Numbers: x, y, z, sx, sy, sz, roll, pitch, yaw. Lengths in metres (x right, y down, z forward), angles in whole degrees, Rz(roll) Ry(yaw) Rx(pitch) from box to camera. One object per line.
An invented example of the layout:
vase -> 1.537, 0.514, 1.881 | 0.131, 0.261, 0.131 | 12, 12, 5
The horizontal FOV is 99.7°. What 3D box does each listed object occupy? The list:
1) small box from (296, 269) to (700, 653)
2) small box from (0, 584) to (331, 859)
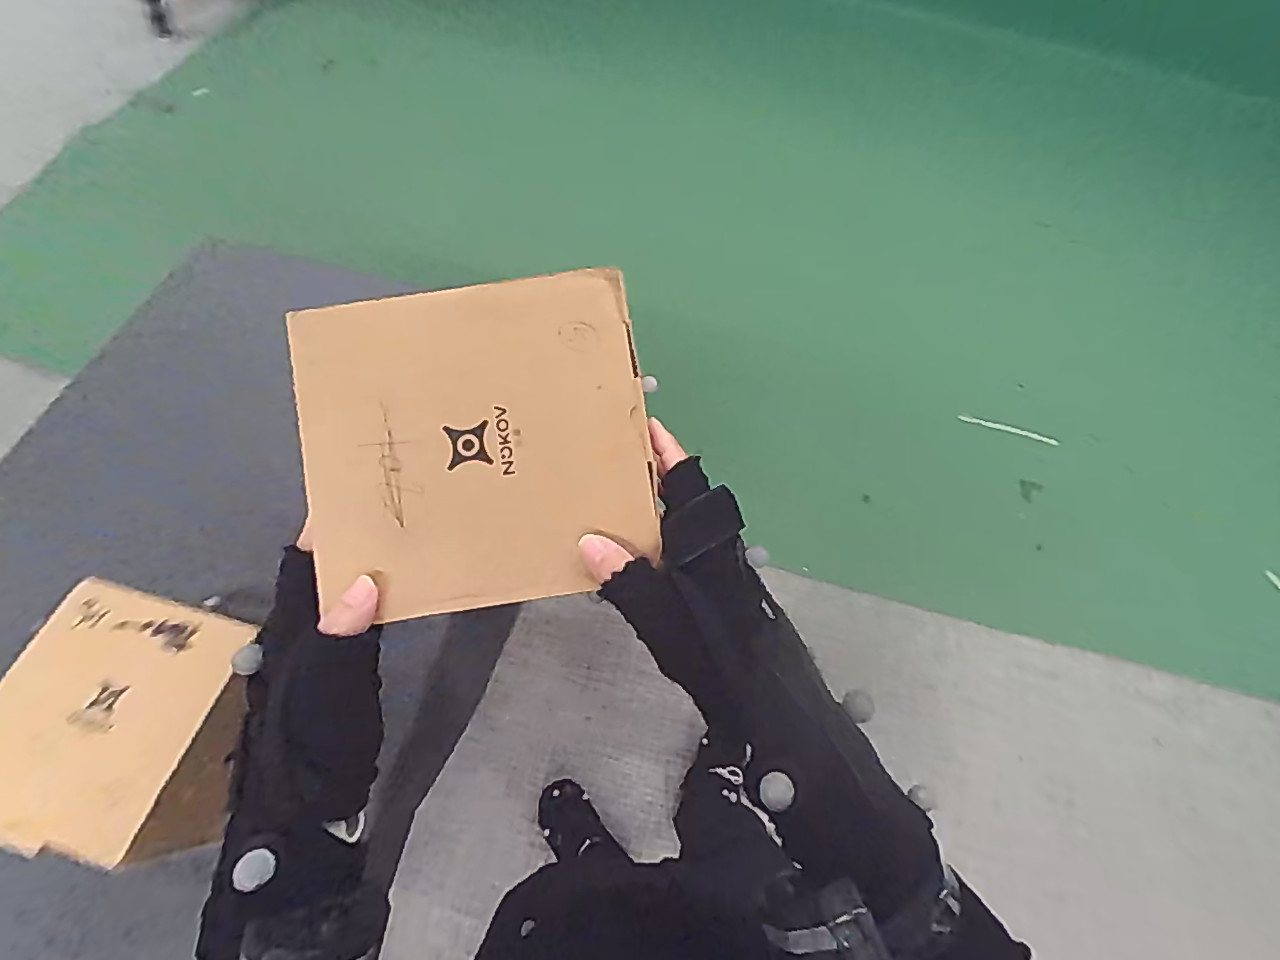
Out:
small box -> -0.073, -0.007, 0.346 | 0.179, 0.176, 0.168 | -12, 85, -2
small box -> -0.429, 0.218, 0.504 | 0.168, 0.176, 0.179 | 12, 63, 3
